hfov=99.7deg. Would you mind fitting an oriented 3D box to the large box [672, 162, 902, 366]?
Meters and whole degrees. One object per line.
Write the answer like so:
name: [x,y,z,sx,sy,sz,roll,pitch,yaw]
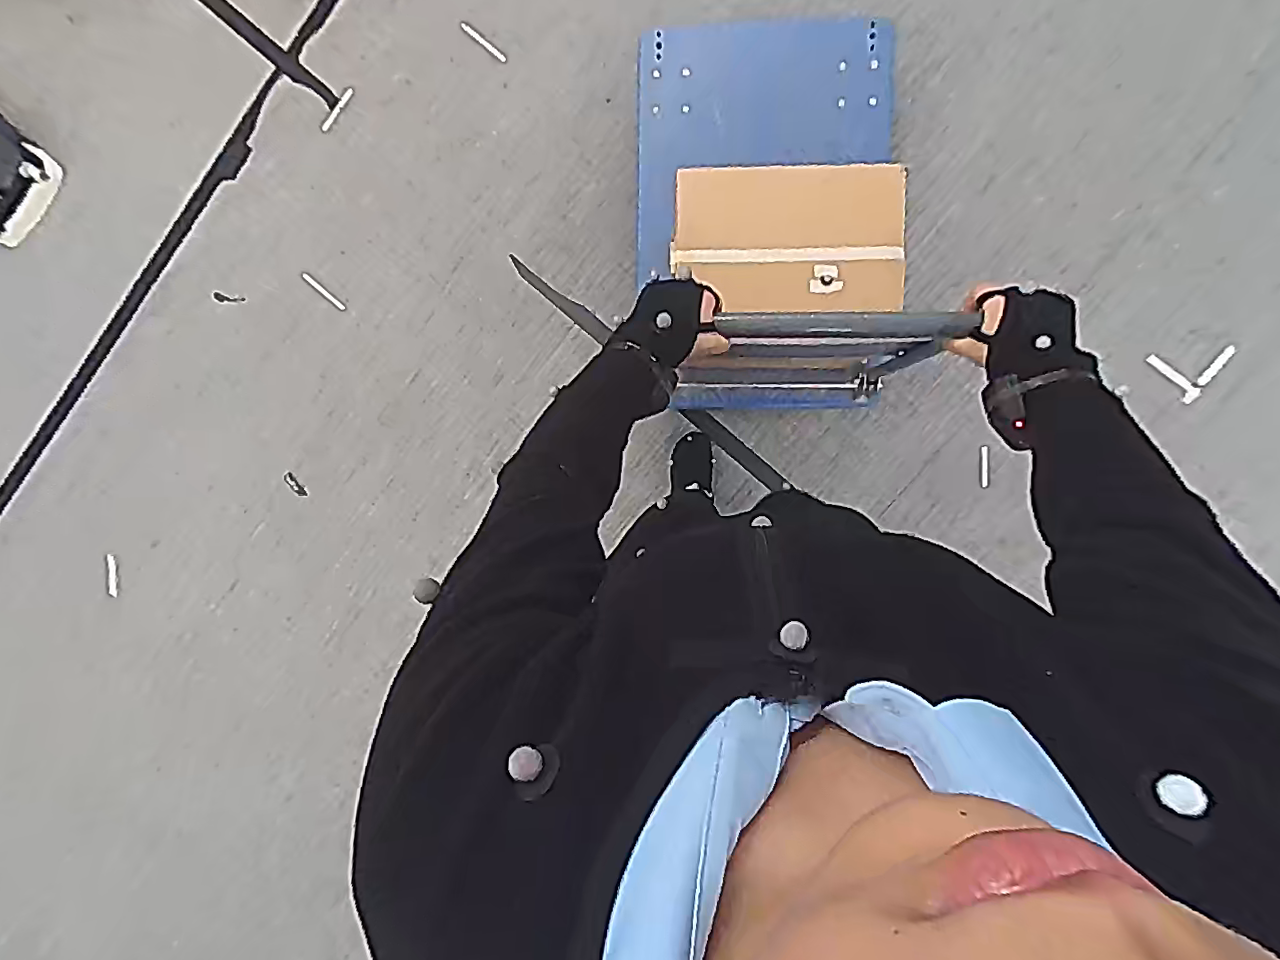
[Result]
large box: [0.272,-0.419,1.123,0.408,0.320,0.320,0,94,2]
